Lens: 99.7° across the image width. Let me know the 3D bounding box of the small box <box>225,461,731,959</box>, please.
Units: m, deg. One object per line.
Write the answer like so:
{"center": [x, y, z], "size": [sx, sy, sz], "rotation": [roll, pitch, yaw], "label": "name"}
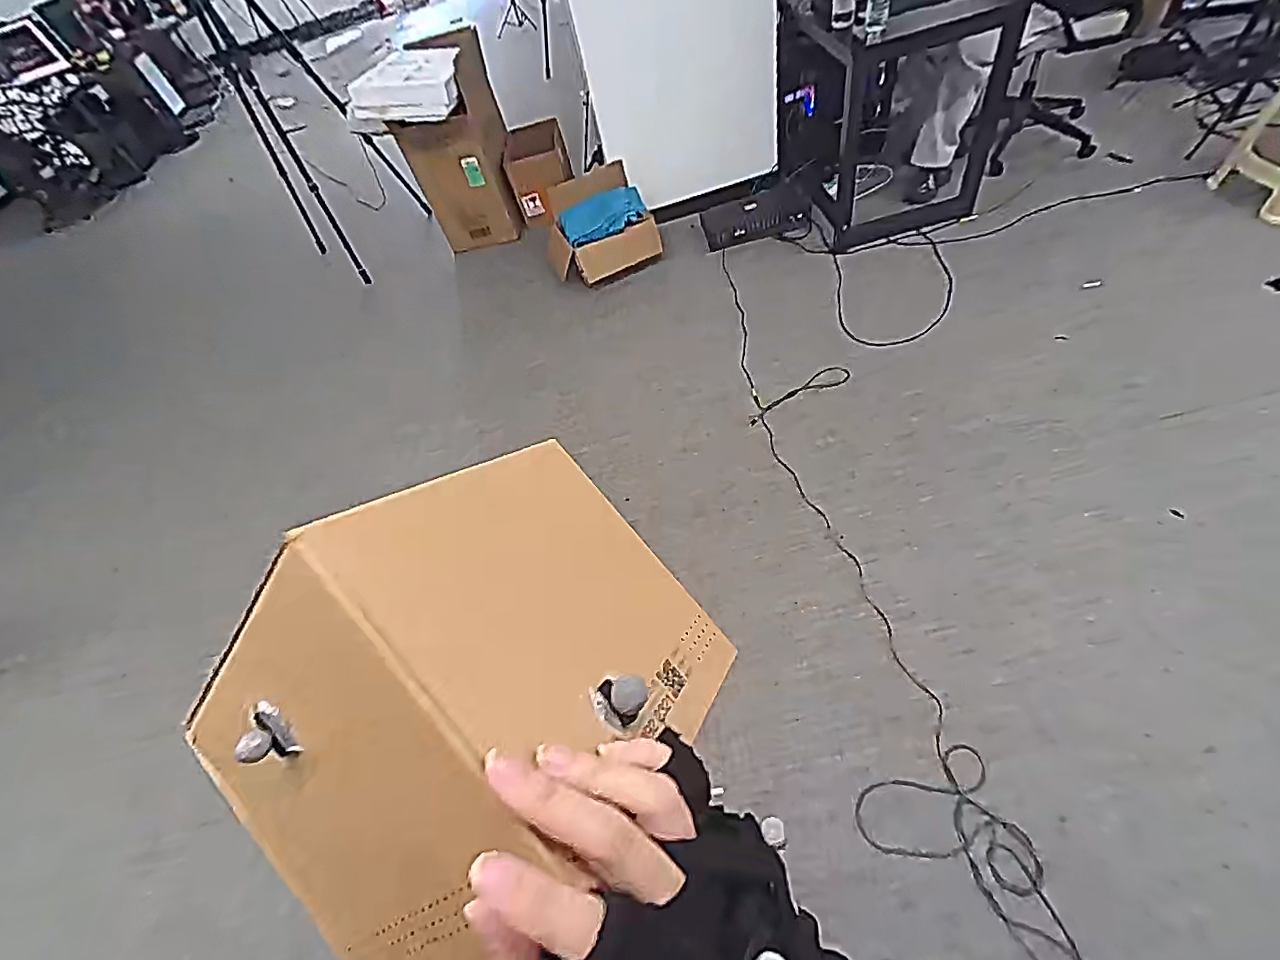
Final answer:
{"center": [-0.082, 0.122, 0.305], "size": [0.176, 0.179, 0.168], "rotation": [48, 30, 5], "label": "small box"}
